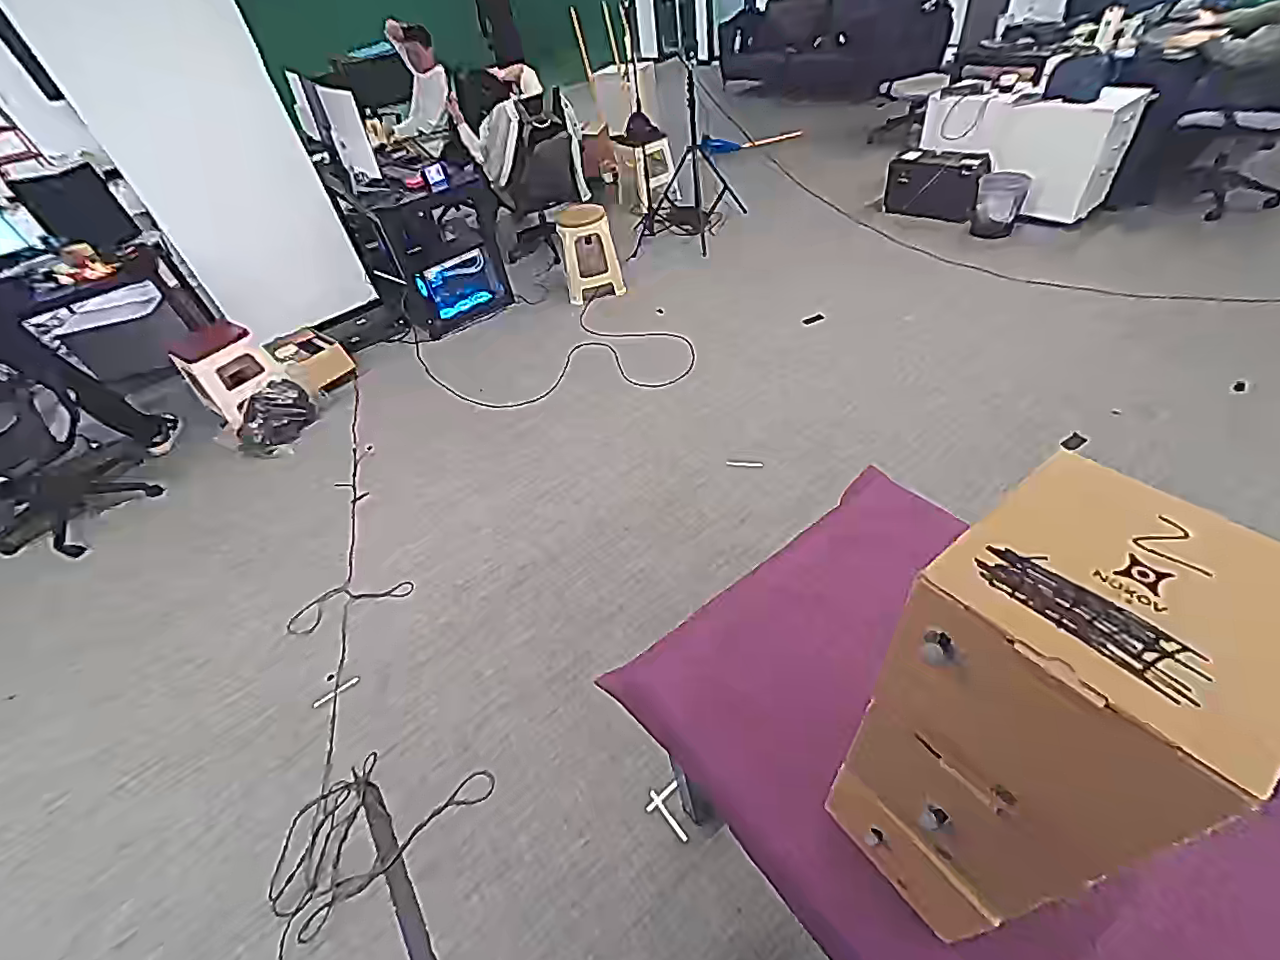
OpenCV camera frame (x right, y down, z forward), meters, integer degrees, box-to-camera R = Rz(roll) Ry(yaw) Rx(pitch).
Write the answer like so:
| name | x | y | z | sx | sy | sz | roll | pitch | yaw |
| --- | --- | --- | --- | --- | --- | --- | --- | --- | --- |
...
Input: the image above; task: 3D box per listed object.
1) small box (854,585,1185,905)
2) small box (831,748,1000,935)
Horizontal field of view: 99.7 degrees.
| name | x | y | z | sx | sy | sz | roll | pitch | yaw |
| --- | --- | --- | --- | --- | --- | --- | --- | --- | --- |
| small box | 0.318 | 0.239 | 0.493 | 0.179 | 0.176 | 0.168 | -33 | 49 | -22 |
| small box | 0.334 | 0.359 | 0.604 | 0.179 | 0.176 | 0.168 | -31 | 48 | -21 |
